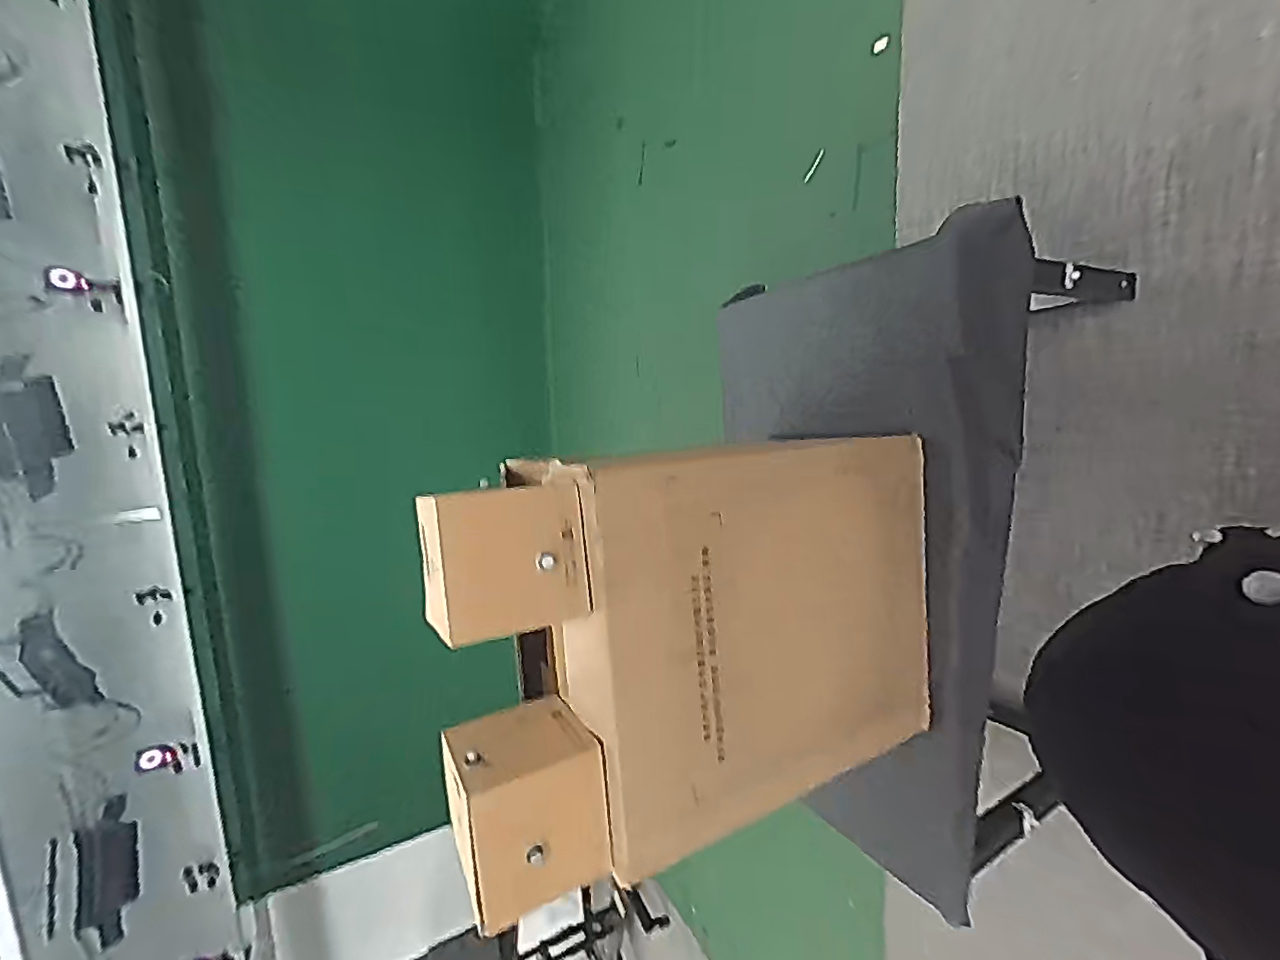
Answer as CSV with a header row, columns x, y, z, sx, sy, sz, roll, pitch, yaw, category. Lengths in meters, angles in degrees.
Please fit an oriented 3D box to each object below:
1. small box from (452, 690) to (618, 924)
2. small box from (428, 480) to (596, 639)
x,y,z,sx,sy,sz,roll,pitch,yaw,category
-0.139,0.414,0.721,0.168,0.176,0.179,5,103,60,small box
-0.169,0.090,0.699,0.179,0.176,0.168,-6,91,61,small box
